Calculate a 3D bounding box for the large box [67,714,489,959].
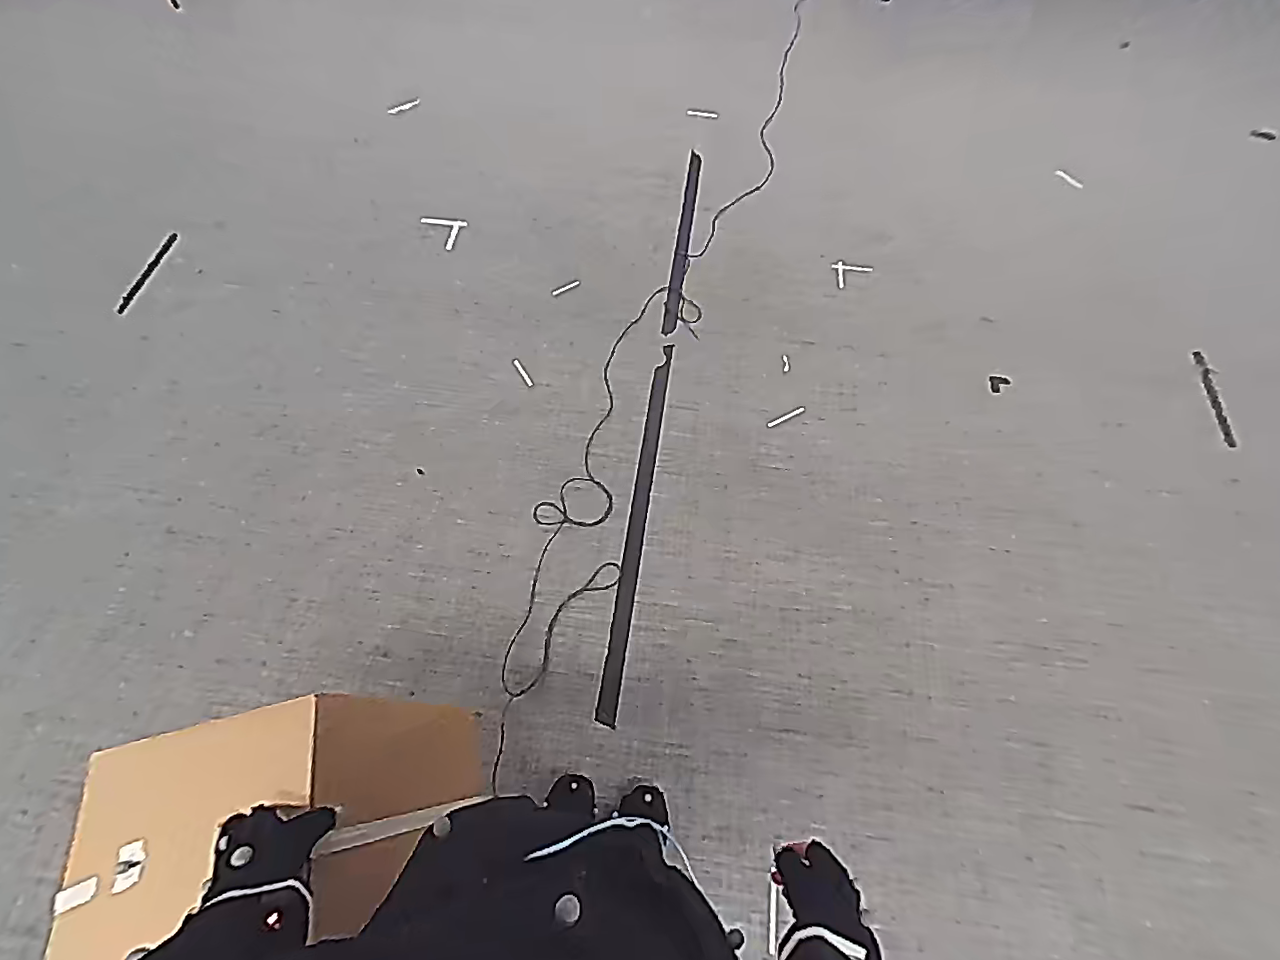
[{"bbox_3d":[-0.453,0.535,0.764,0.320,0.408,0.320,-15,63,5],"label":"large box"}]
